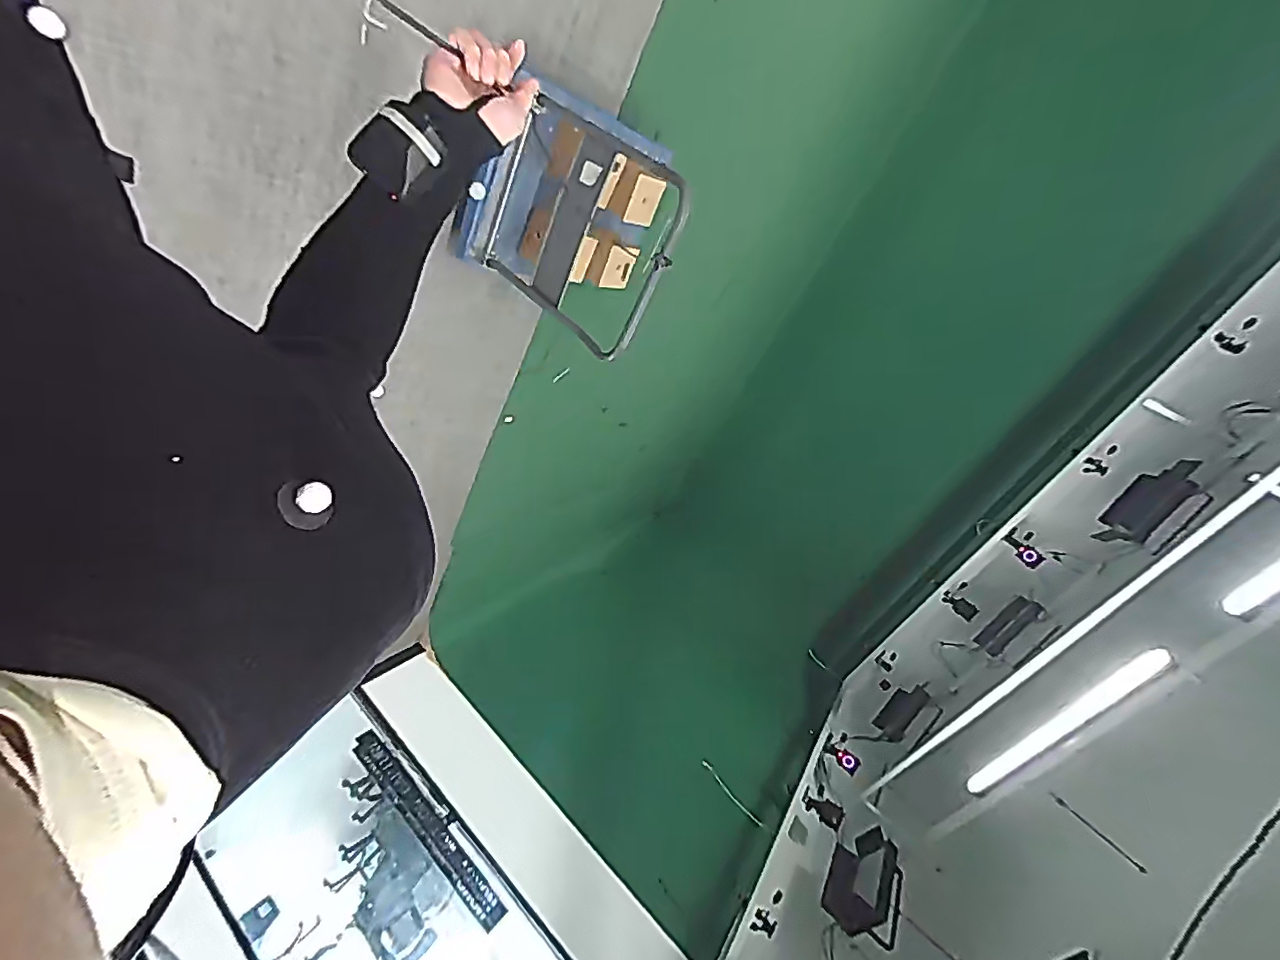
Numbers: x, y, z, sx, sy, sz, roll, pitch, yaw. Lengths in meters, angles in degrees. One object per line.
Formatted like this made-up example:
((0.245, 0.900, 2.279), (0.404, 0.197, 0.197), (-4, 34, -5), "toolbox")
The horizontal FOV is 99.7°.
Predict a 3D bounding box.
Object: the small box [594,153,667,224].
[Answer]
((-0.040, -1.070, 1.983), (0.179, 0.176, 0.168), (-24, 149, -52), "small box")

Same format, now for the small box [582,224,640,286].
((-0.140, -0.882, 2.117), (0.179, 0.176, 0.168), (-22, 146, -51), "small box")

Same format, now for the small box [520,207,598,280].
((-0.287, -0.829, 1.897), (0.179, 0.176, 0.168), (-18, 144, -55), "small box")
